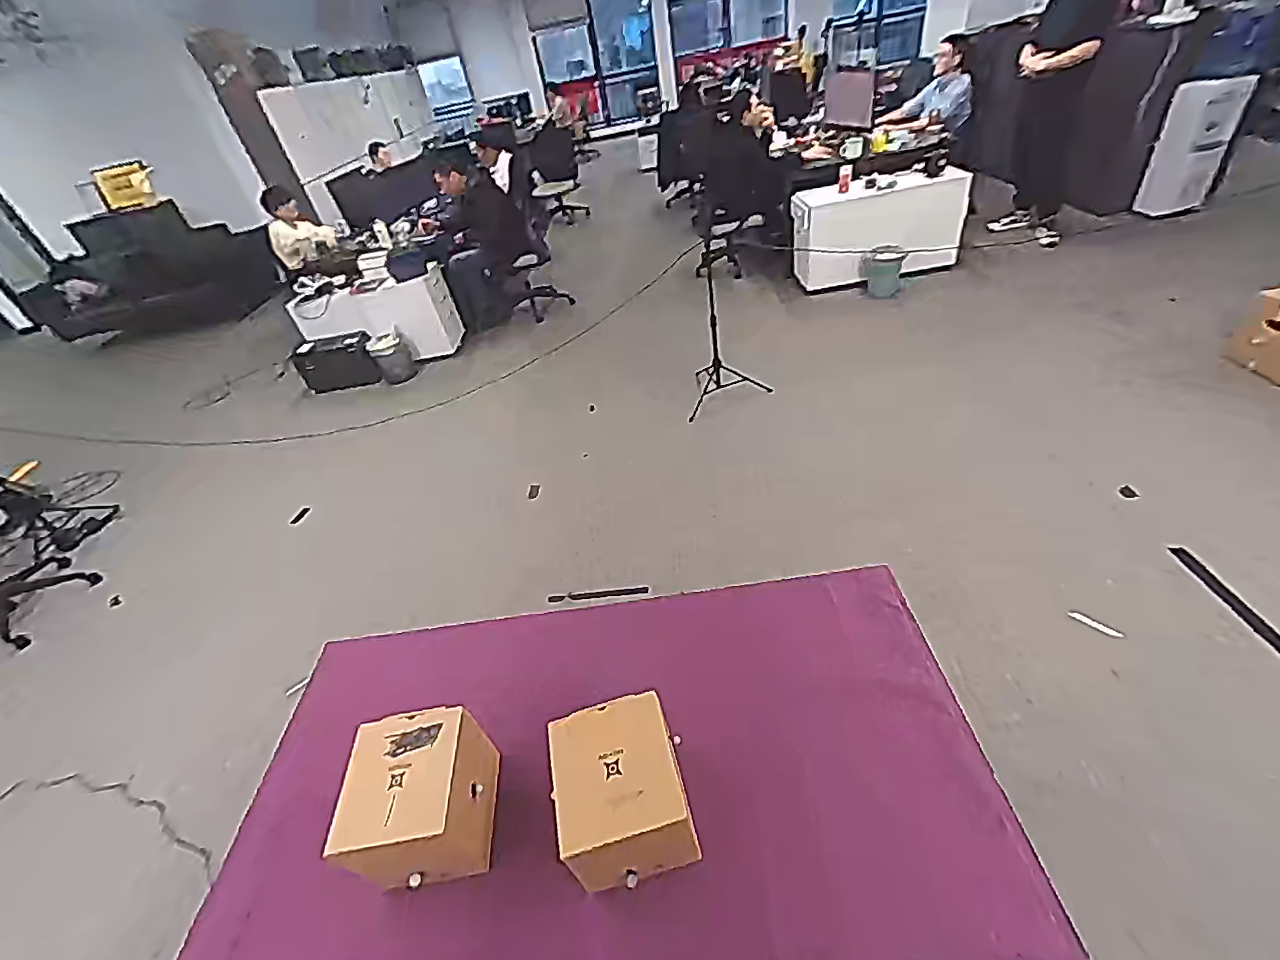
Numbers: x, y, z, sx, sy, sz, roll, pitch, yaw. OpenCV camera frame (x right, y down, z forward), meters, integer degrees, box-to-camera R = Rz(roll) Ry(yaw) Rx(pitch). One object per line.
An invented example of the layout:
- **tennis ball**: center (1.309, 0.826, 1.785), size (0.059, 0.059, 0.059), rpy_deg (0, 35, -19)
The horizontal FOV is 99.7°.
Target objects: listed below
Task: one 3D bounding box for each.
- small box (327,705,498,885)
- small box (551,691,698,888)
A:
- **small box**: center (-0.325, 0.475, 0.818), size (0.168, 0.176, 0.179), rpy_deg (-11, 40, 2)
- **small box**: center (-0.023, 0.443, 0.779), size (0.168, 0.176, 0.179), rpy_deg (-16, 39, -3)
